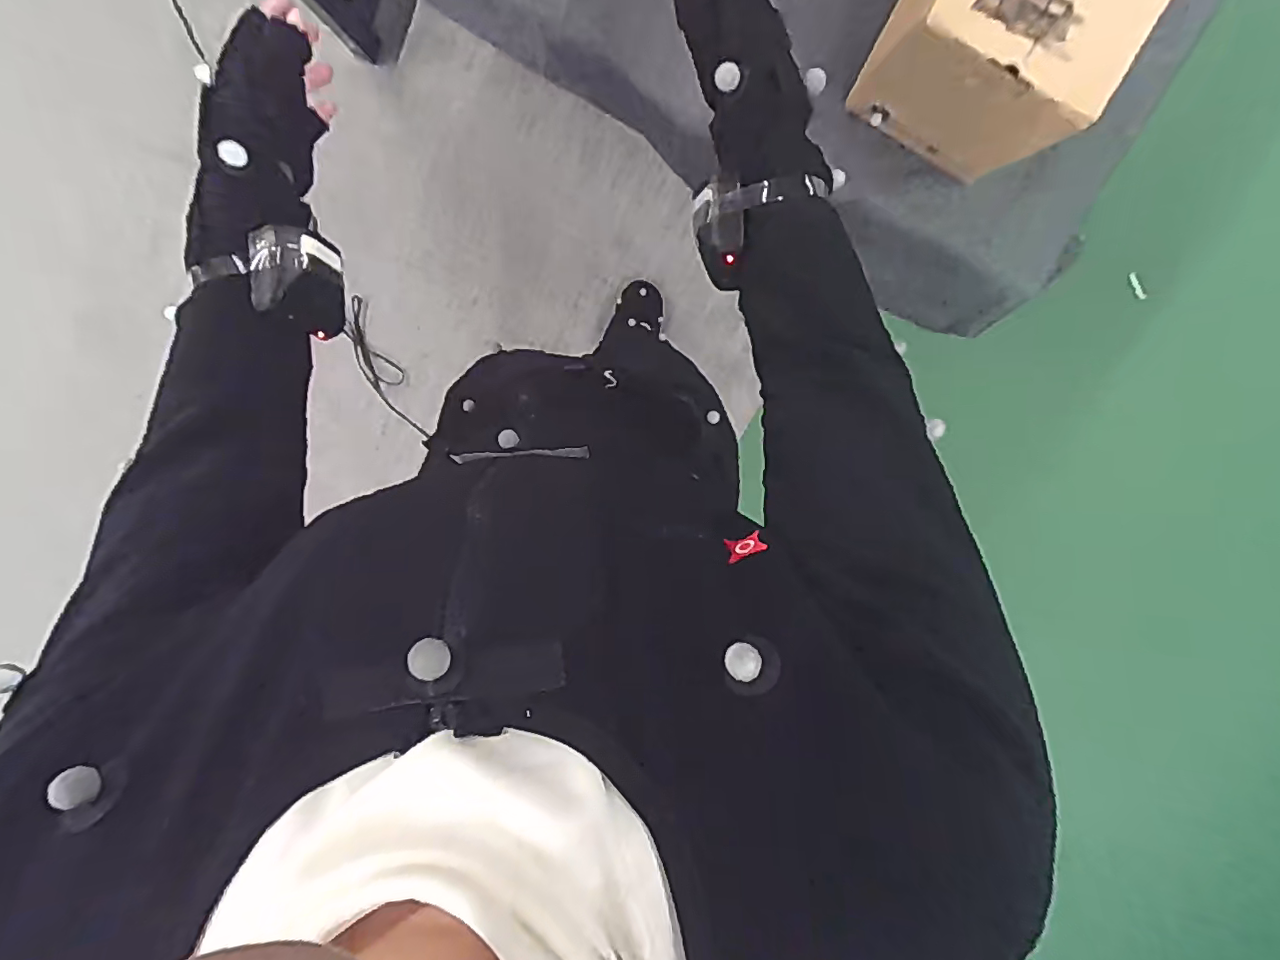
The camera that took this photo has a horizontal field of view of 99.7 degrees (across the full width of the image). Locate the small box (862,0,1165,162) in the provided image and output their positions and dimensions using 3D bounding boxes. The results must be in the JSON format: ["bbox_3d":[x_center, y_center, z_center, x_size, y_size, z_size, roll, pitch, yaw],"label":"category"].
[{"bbox_3d":[0.328,-0.424,0.481,0.168,0.176,0.179,26,103,-9],"label":"small box"}]
